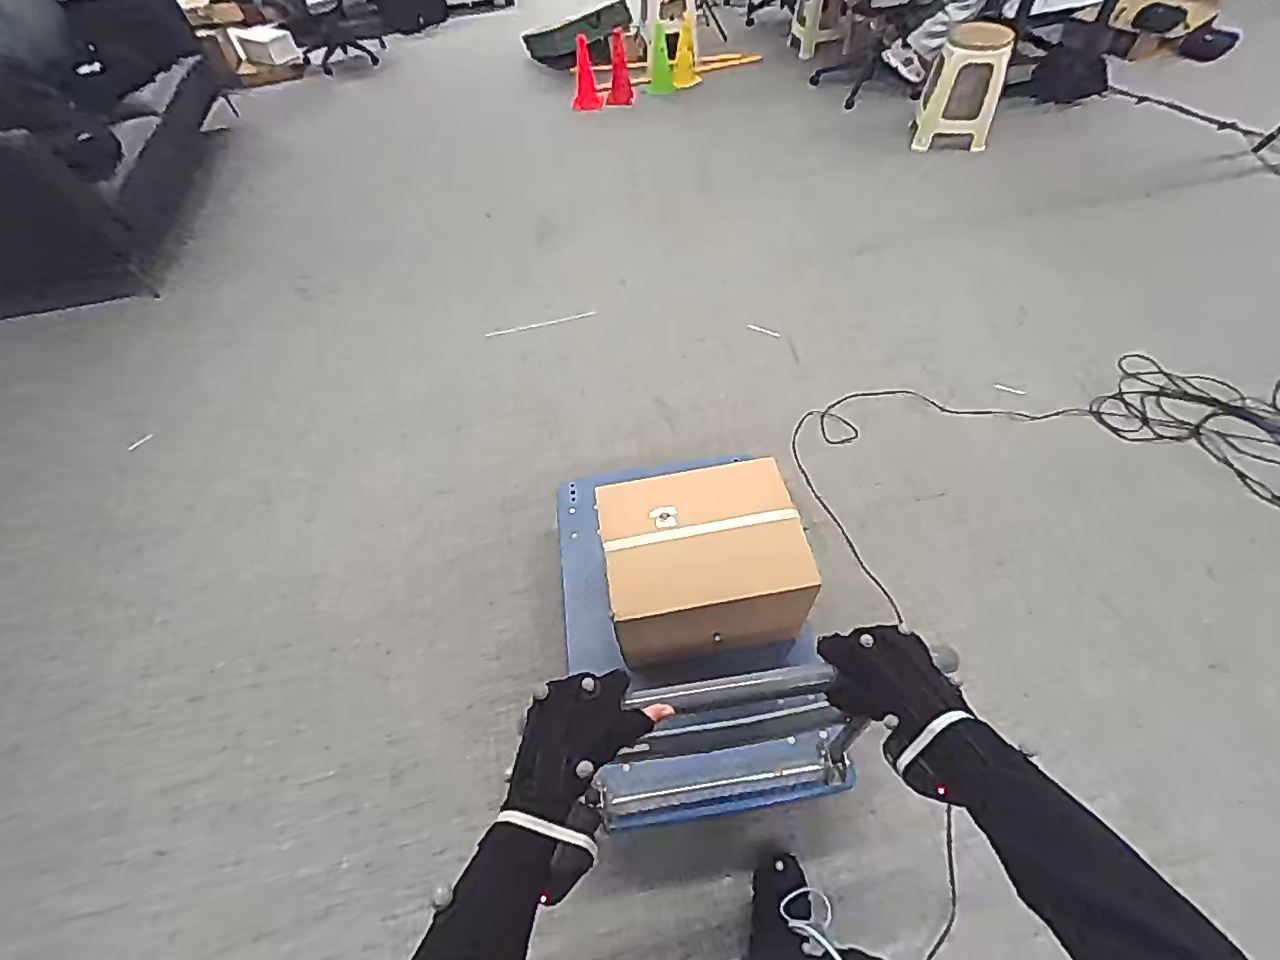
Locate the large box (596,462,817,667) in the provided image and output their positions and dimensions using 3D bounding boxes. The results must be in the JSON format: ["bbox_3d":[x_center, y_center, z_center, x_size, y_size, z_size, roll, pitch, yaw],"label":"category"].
[{"bbox_3d":[0.137,0.202,1.237,0.408,0.320,0.320,-11,54,-1],"label":"large box"}]
